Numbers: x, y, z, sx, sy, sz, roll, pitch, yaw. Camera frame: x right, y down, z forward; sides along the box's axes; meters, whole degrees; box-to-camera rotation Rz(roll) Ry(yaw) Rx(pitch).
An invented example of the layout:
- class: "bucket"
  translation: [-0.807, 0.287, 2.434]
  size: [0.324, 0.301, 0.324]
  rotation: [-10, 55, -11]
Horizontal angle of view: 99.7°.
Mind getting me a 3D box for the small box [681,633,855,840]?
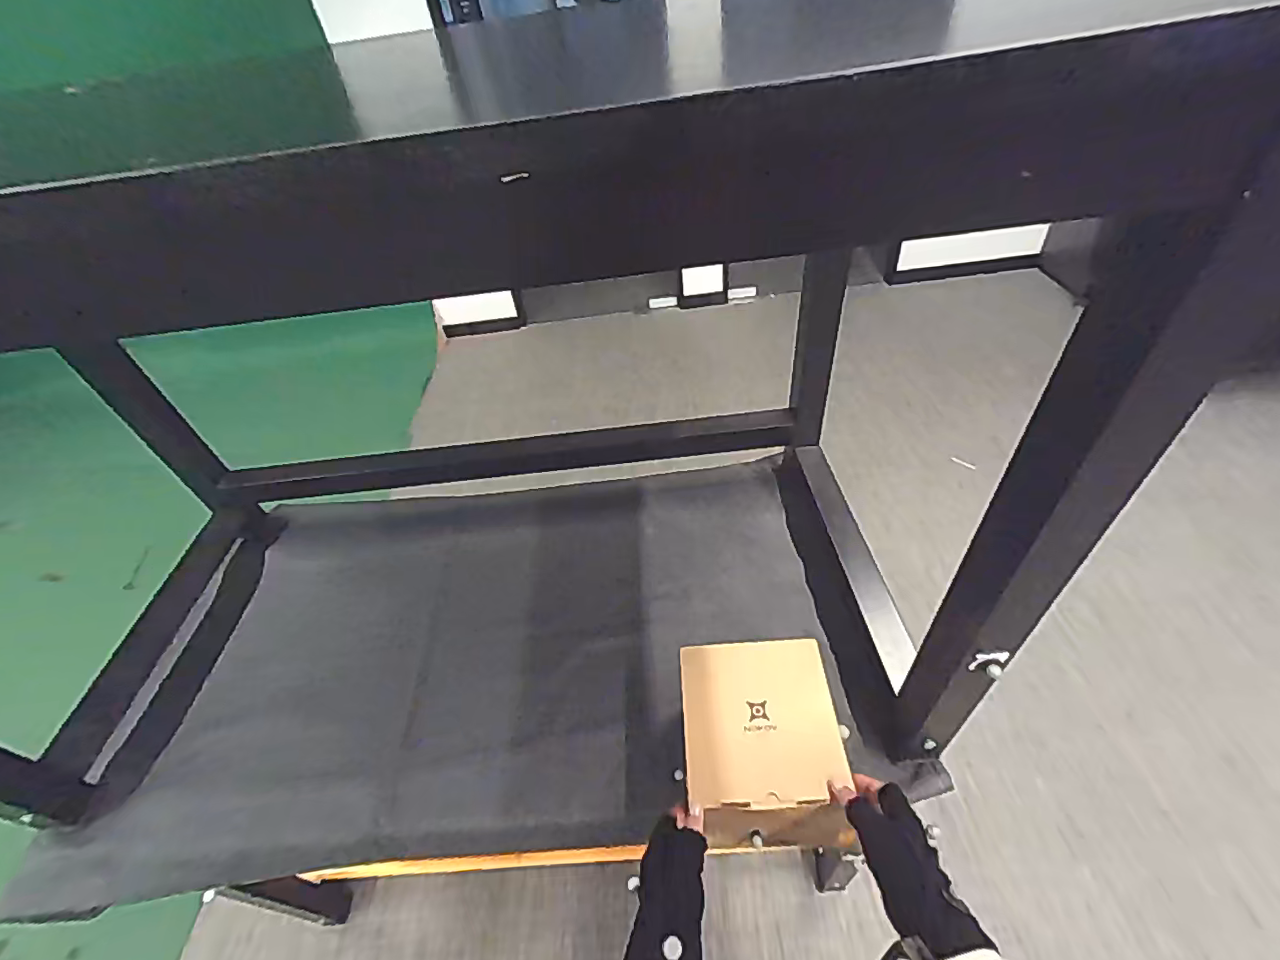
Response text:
- class: "small box"
  translation: [0.137, 0.305, 0.644]
  size: [0.168, 0.176, 0.179]
  rotation: [-5, 45, 5]
